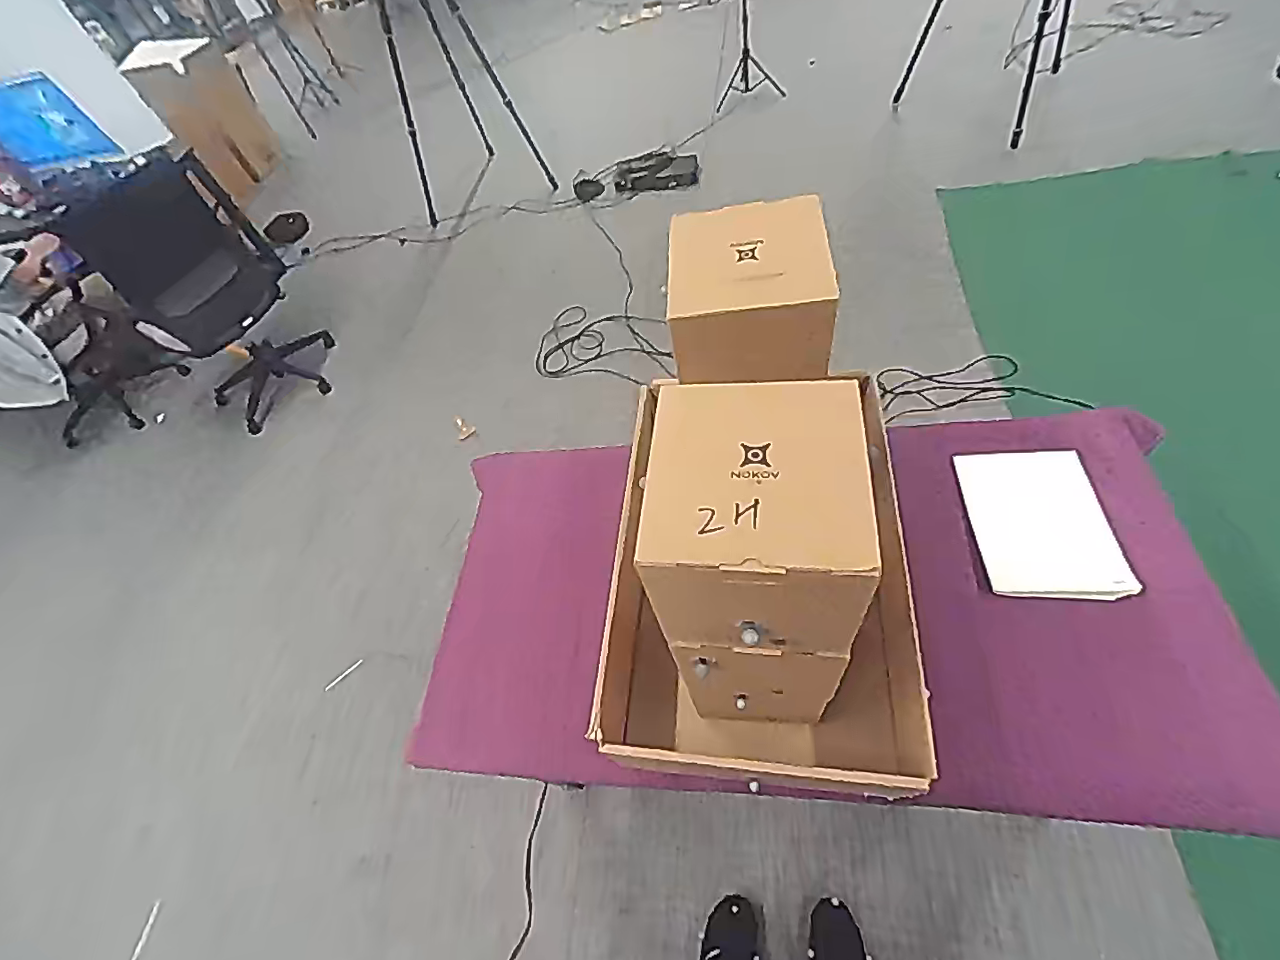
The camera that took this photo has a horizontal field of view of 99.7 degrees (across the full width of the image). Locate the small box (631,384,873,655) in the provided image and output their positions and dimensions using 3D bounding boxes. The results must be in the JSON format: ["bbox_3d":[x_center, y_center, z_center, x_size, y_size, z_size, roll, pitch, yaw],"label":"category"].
[{"bbox_3d":[0.099,0.036,0.477,0.168,0.176,0.179,1,56,14],"label":"small box"}]

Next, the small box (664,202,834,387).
[{"bbox_3d":[0.123,-0.189,0.633,0.168,0.176,0.179,-3,58,11],"label":"small box"}]
